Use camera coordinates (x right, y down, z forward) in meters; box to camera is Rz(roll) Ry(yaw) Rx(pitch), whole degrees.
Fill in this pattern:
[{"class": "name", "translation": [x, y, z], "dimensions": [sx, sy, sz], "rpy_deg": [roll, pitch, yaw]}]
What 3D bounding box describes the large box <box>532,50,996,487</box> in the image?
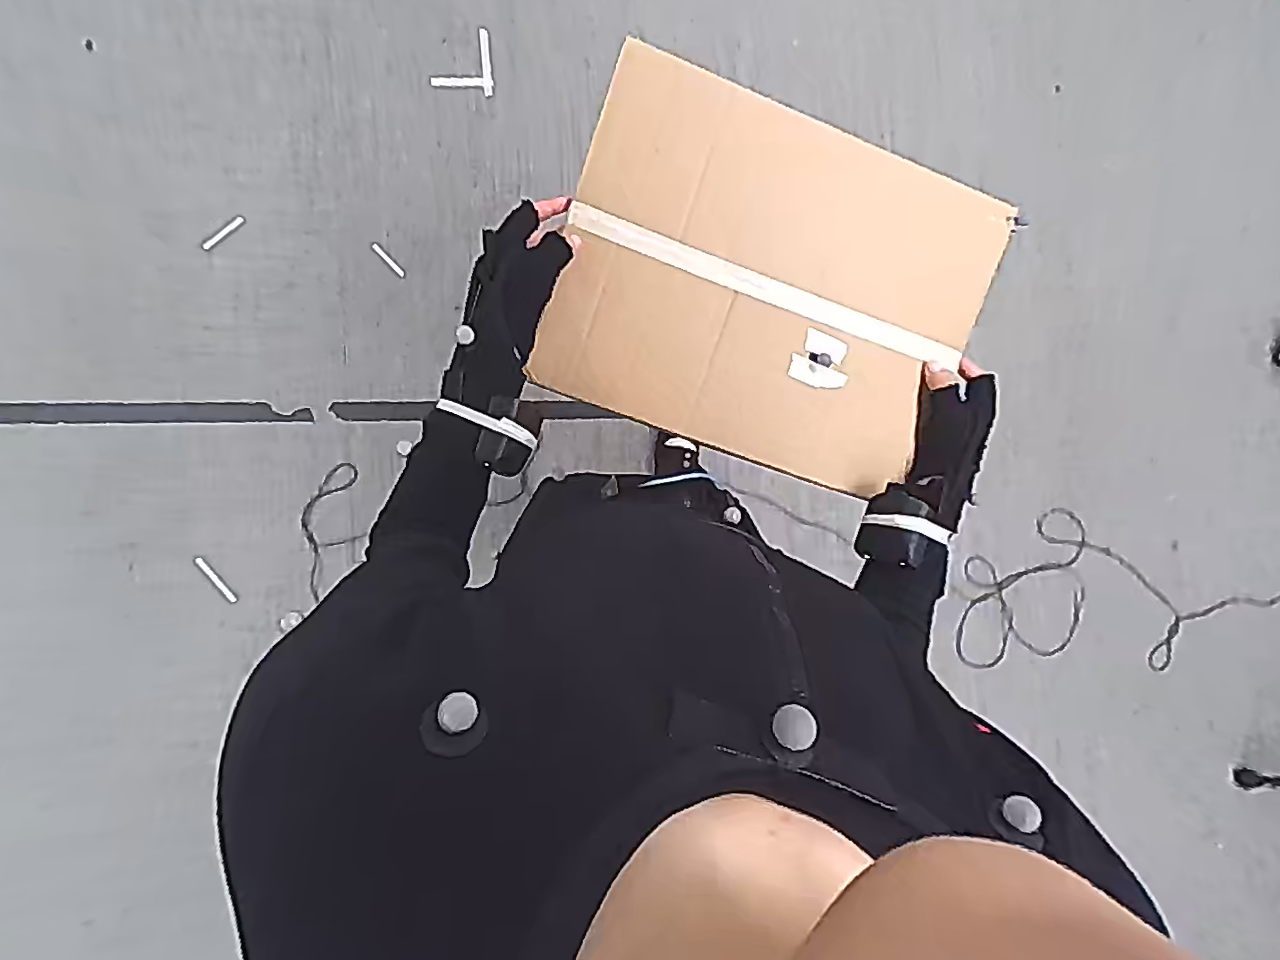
[{"class": "large box", "translation": [0.110, -0.214, 0.680], "dimensions": [0.408, 0.320, 0.320], "rpy_deg": [19, 97, -8]}]
